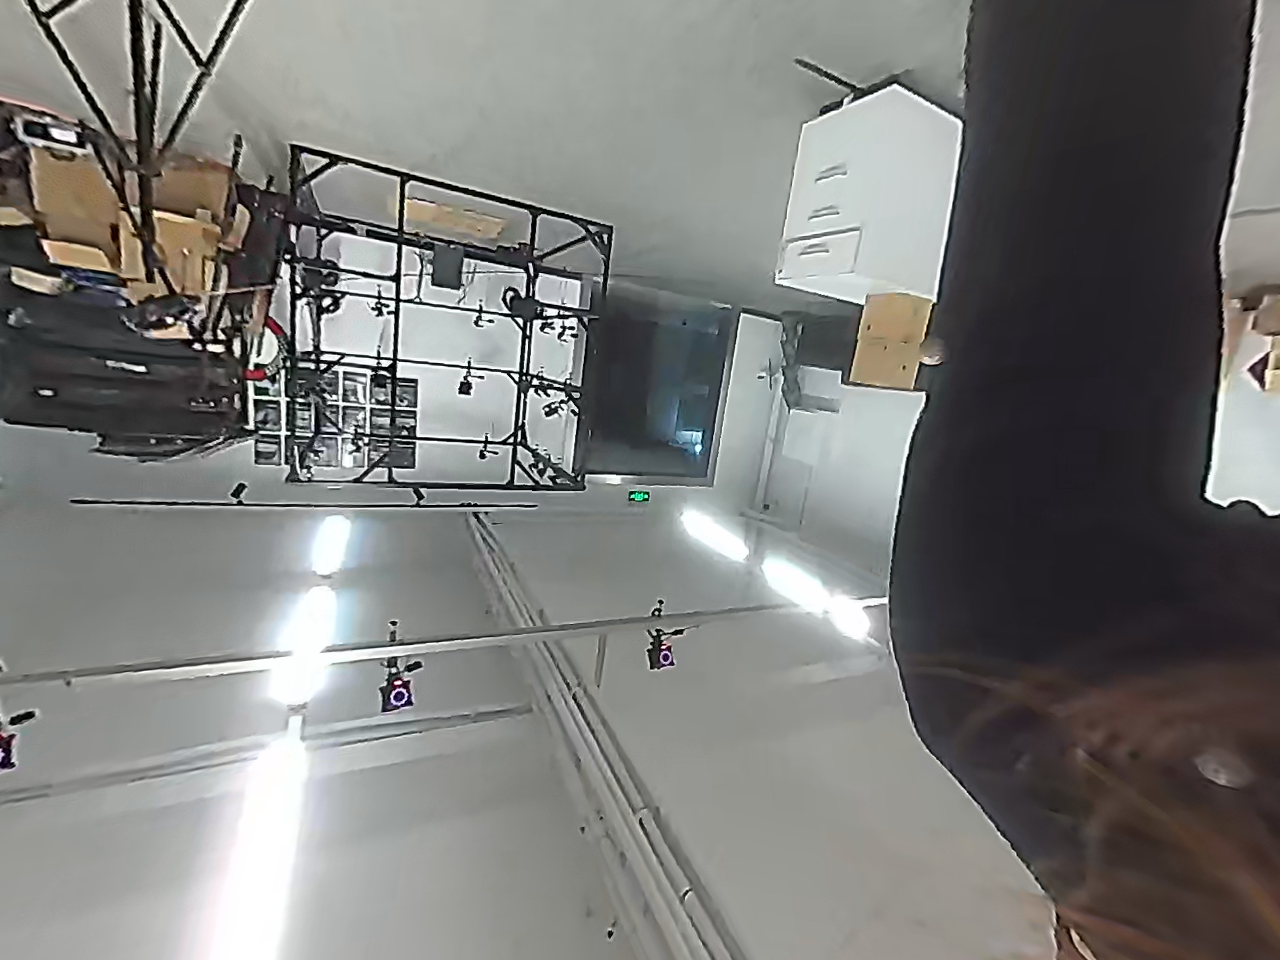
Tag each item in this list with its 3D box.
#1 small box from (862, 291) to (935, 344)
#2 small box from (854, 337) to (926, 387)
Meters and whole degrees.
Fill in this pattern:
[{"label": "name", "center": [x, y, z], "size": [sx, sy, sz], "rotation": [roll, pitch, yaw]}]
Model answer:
[{"label": "small box", "center": [0.989, -0.622, 2.067], "size": [0.168, 0.176, 0.179], "rotation": [1, -165, -27]}, {"label": "small box", "center": [0.970, -0.462, 2.100], "size": [0.179, 0.176, 0.168], "rotation": [1, -165, -27]}]
